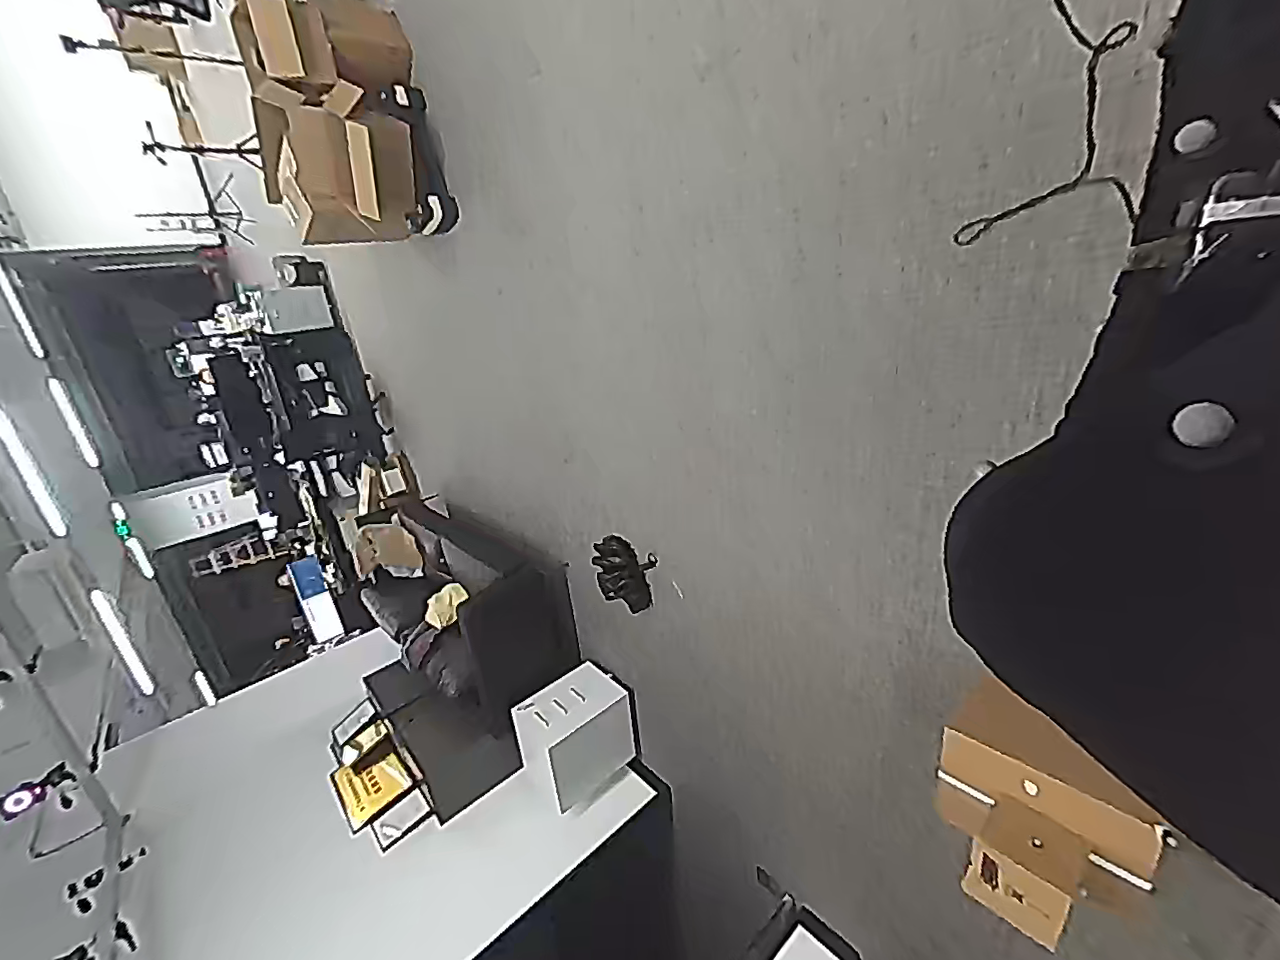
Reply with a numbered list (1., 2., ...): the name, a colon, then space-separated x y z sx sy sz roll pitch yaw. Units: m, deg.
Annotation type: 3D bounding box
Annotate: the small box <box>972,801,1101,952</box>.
1. small box: 0.859 0.843 1.176 0.179 0.176 0.168 17 115 49
